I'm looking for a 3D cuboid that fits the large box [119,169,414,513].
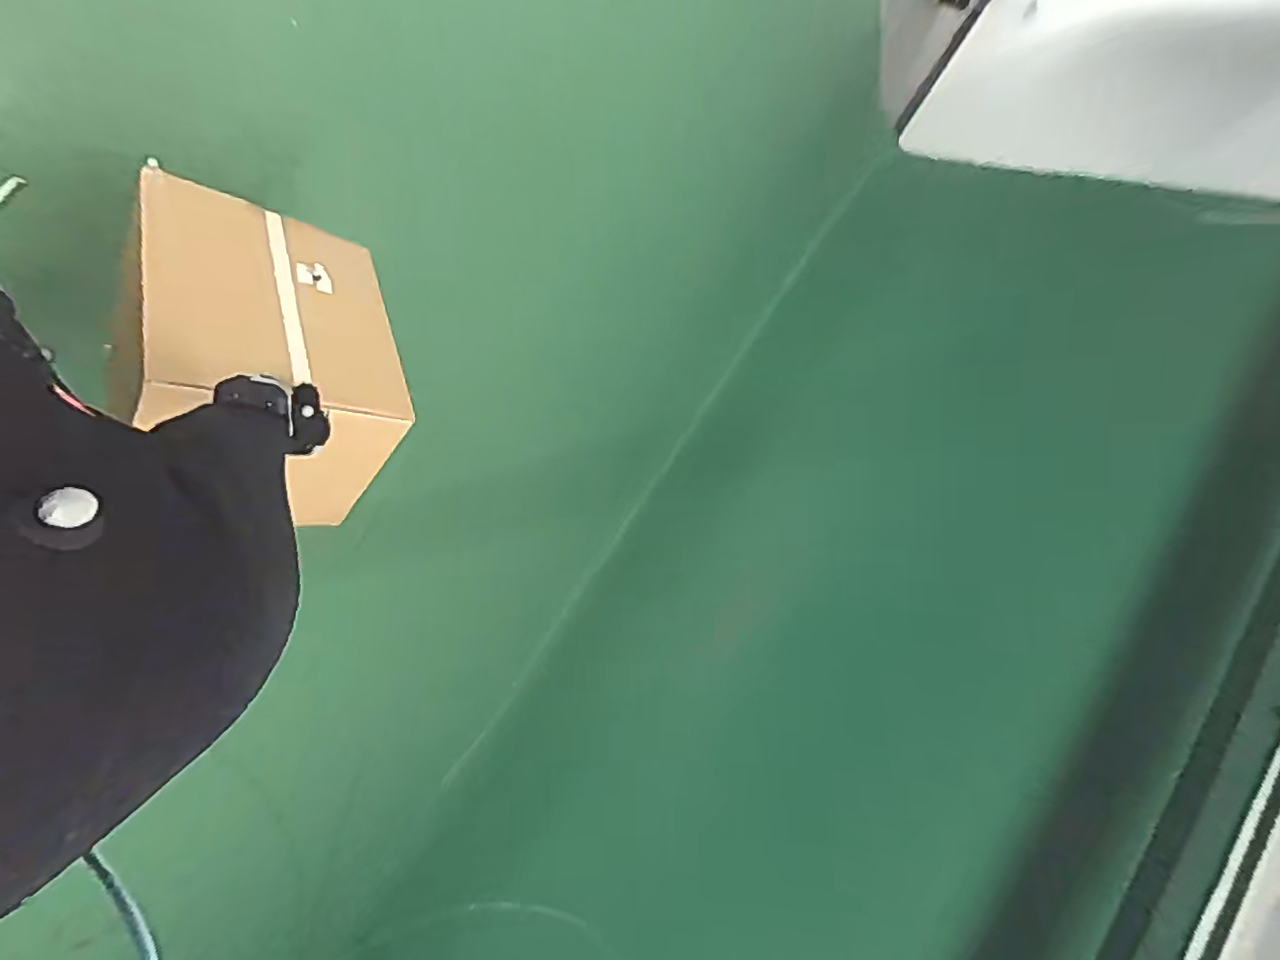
[{"bbox_3d":[-0.624,-0.191,0.886,0.320,0.408,0.320,-40,152,31],"label":"large box"}]
